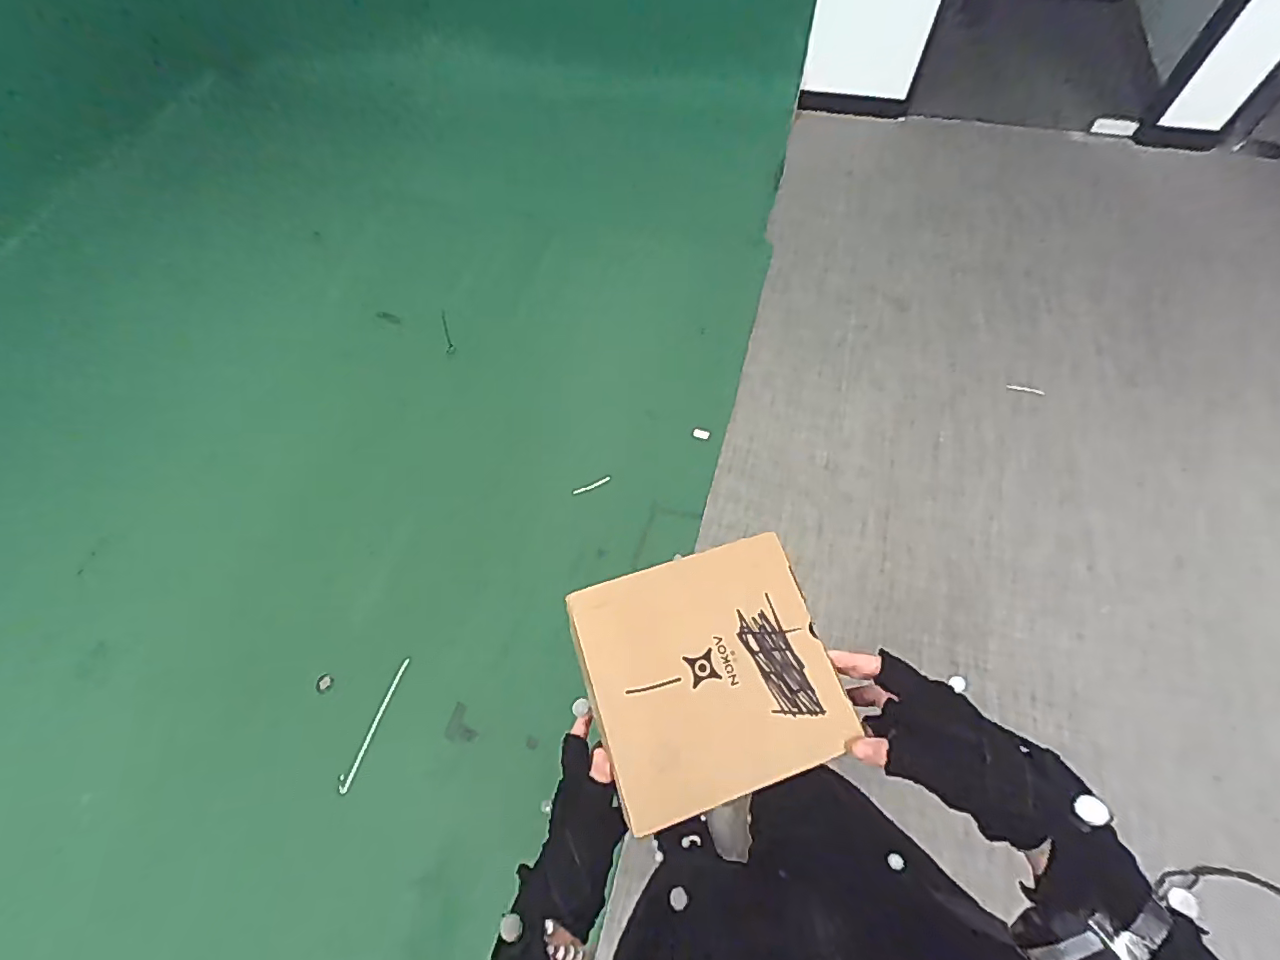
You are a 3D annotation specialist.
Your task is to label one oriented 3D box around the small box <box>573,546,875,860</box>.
[{"bbox_3d":[0.048,0.174,0.449,0.179,0.176,0.168,-15,68,-11],"label":"small box"}]
